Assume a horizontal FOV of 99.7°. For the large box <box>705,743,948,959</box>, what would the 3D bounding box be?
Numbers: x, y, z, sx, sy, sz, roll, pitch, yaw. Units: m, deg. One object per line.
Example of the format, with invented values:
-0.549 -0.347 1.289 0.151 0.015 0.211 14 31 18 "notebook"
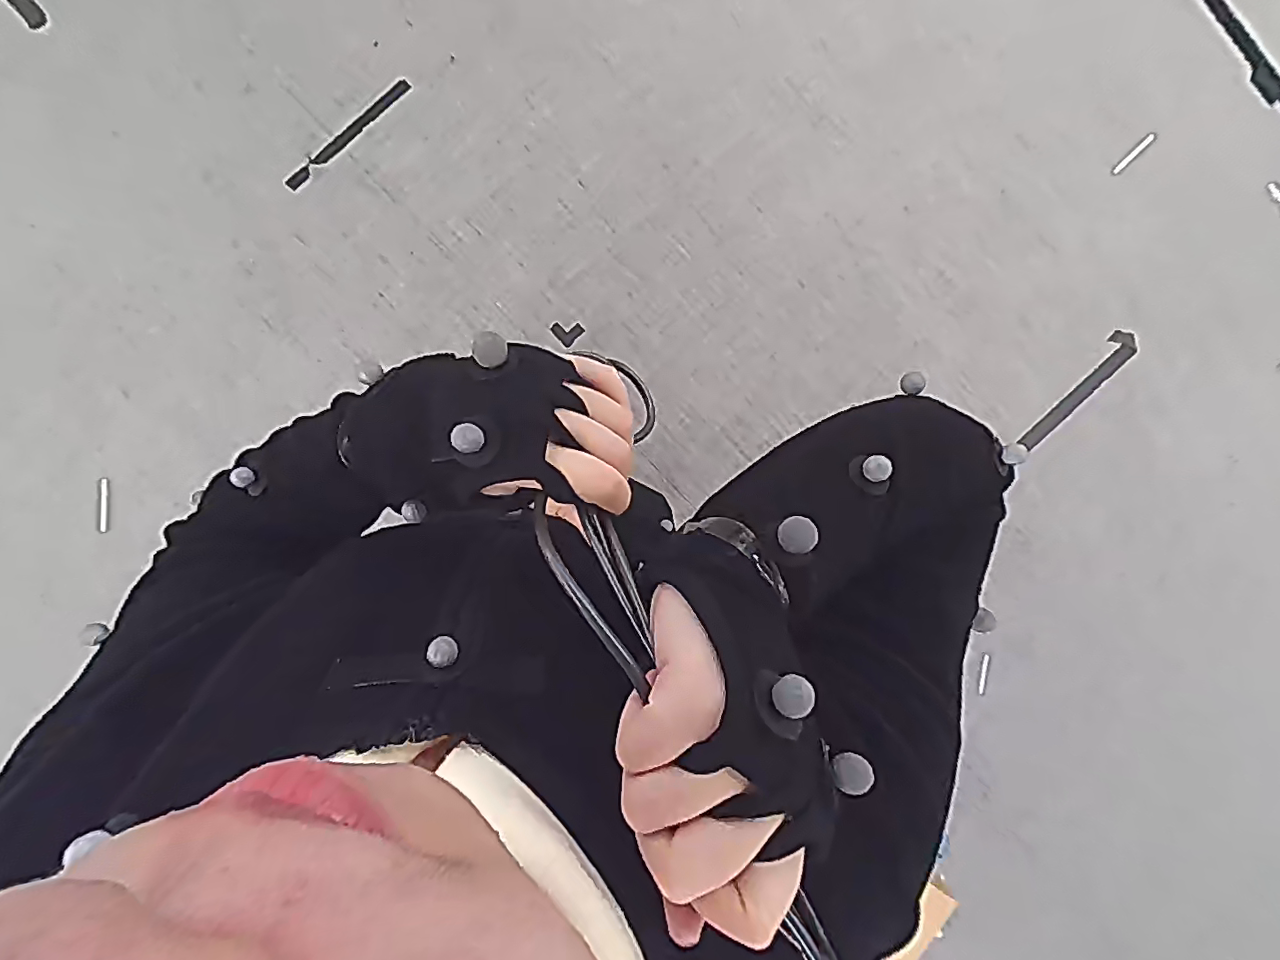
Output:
0.411 0.932 1.279 0.320 0.320 0.408 34 92 -6 "large box"
